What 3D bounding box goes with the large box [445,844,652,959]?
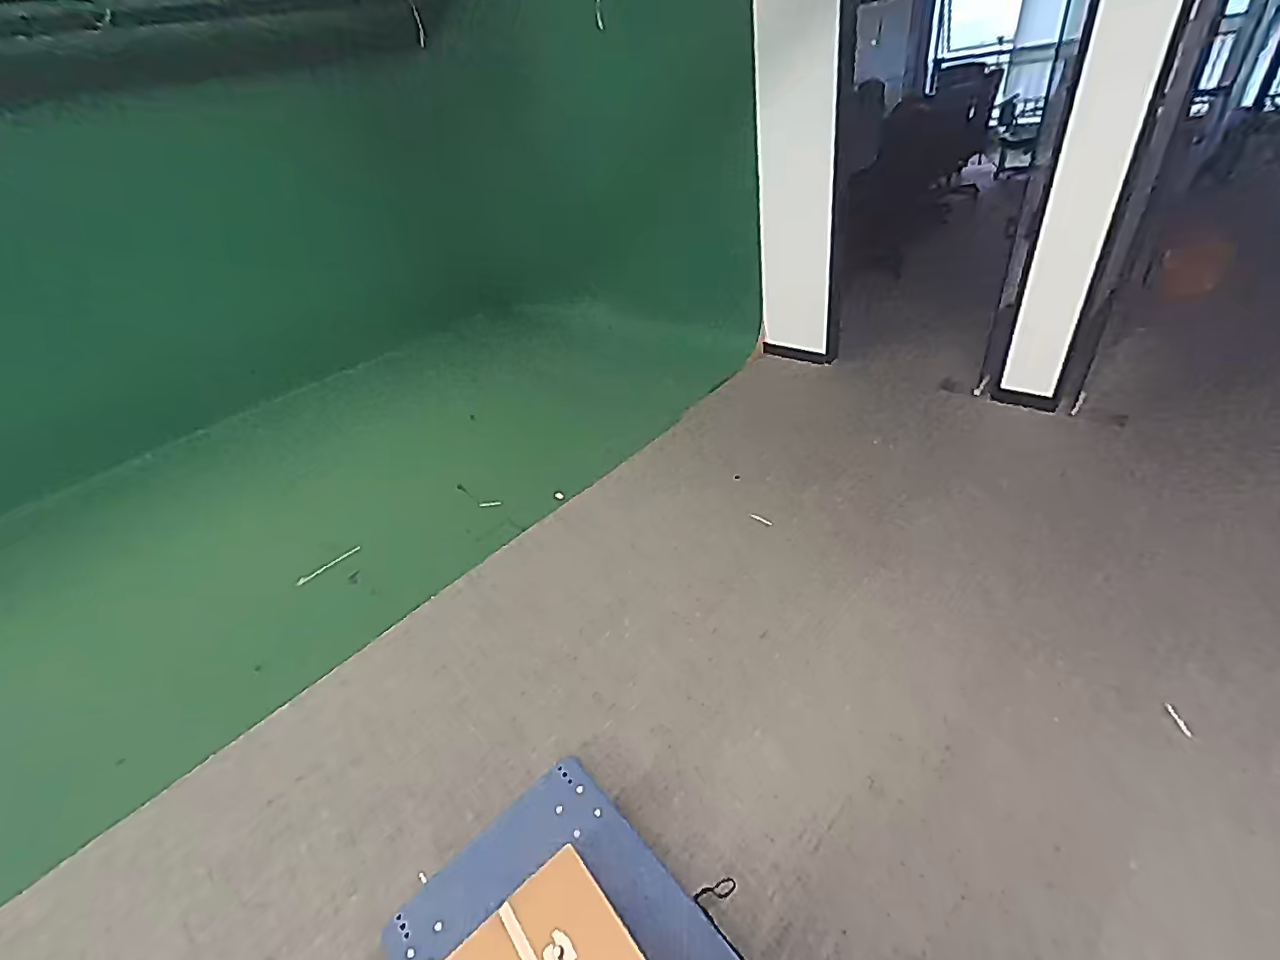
[{"bbox_3d":[-0.105,0.988,0.970,0.320,0.320,0.408,-32,41,-26],"label":"large box"}]
